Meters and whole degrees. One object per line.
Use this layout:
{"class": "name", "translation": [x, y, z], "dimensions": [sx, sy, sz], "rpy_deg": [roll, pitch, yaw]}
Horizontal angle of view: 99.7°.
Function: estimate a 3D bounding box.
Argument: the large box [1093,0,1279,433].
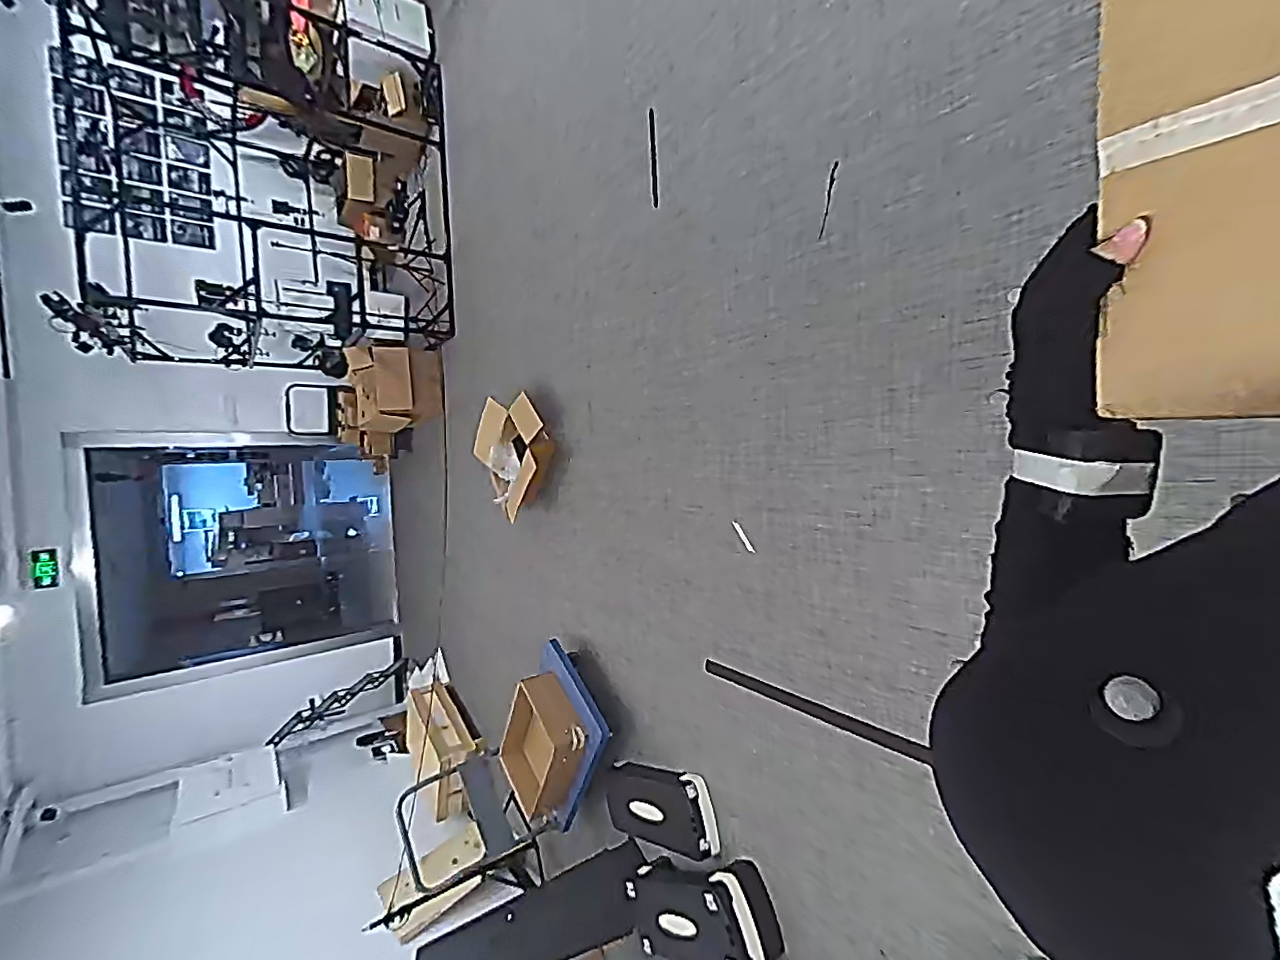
{"class": "large box", "translation": [0.517, -0.200, 0.253], "dimensions": [0.408, 0.320, 0.320], "rpy_deg": [6, 105, 56]}
